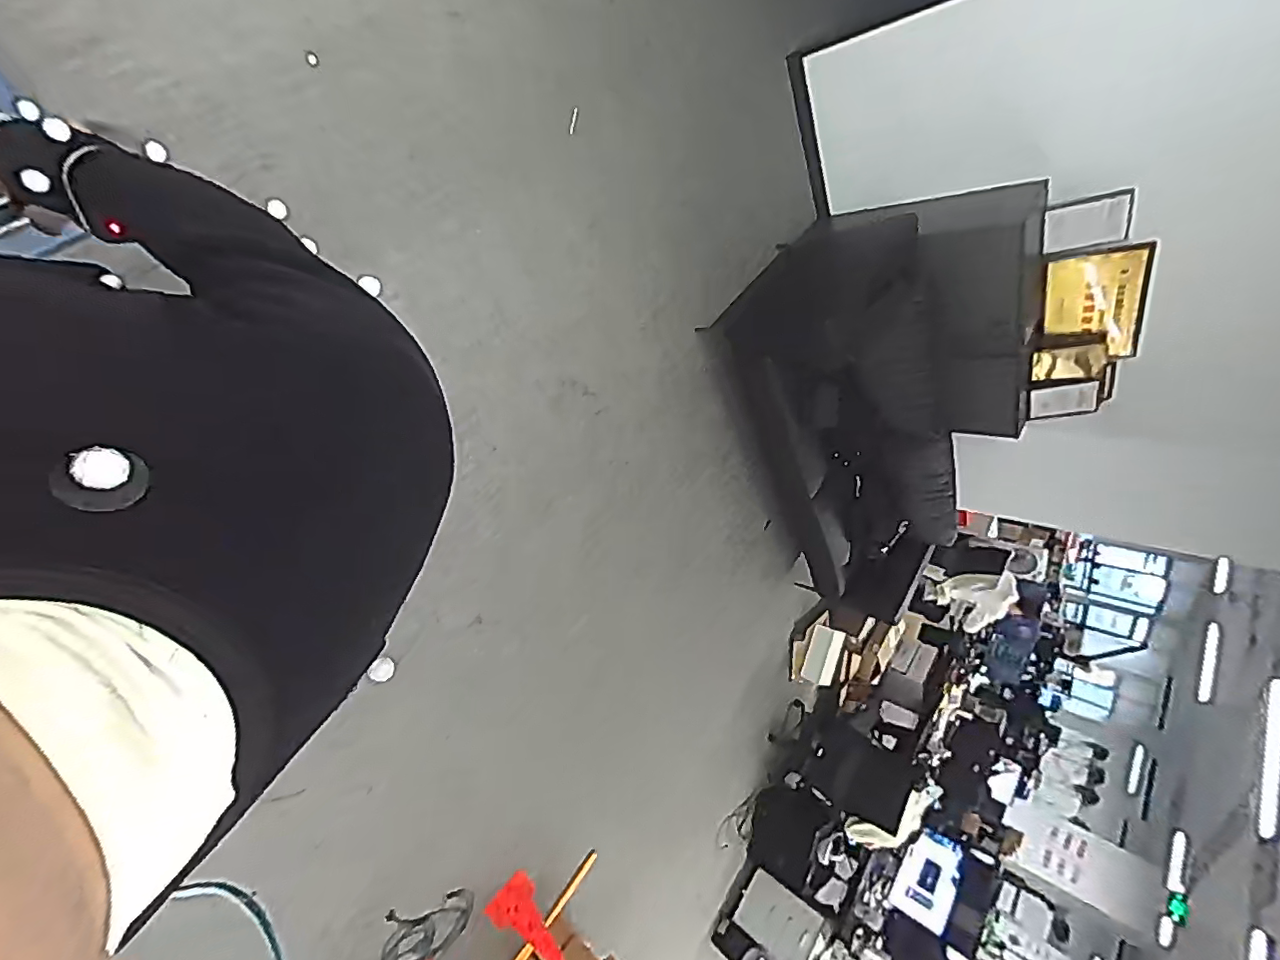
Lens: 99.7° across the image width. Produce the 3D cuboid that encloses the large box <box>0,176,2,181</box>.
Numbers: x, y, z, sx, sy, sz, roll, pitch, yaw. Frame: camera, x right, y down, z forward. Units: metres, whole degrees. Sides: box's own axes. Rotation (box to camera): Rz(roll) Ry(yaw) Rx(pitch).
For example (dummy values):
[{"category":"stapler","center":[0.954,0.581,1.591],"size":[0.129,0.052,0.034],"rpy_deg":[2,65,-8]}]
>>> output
[{"category":"large box","center":[-1.147,-0.524,0.643],"size":[0.320,0.320,0.408],"rpy_deg":[-49,131,-28]}]
